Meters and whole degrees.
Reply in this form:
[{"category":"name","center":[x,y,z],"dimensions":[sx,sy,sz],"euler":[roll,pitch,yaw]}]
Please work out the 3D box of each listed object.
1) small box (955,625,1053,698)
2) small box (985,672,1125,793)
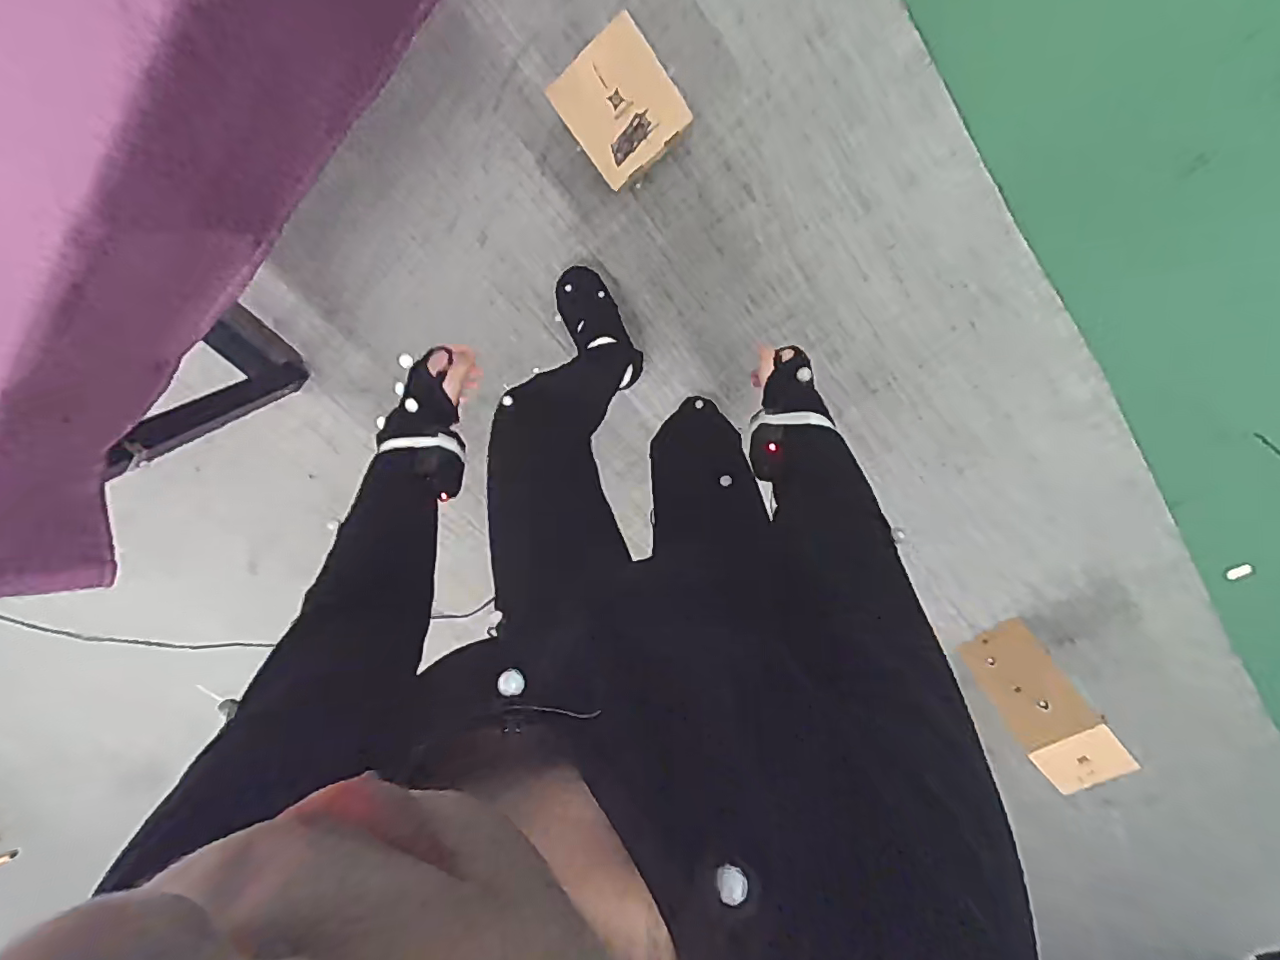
[{"category":"small box","center":[0.955,0.499,1.392],"dimensions":[0.168,0.176,0.179],"euler":[-37,109,21]},{"category":"small box","center":[0.941,0.570,1.245],"dimensions":[0.168,0.176,0.179],"euler":[-38,108,22]}]
